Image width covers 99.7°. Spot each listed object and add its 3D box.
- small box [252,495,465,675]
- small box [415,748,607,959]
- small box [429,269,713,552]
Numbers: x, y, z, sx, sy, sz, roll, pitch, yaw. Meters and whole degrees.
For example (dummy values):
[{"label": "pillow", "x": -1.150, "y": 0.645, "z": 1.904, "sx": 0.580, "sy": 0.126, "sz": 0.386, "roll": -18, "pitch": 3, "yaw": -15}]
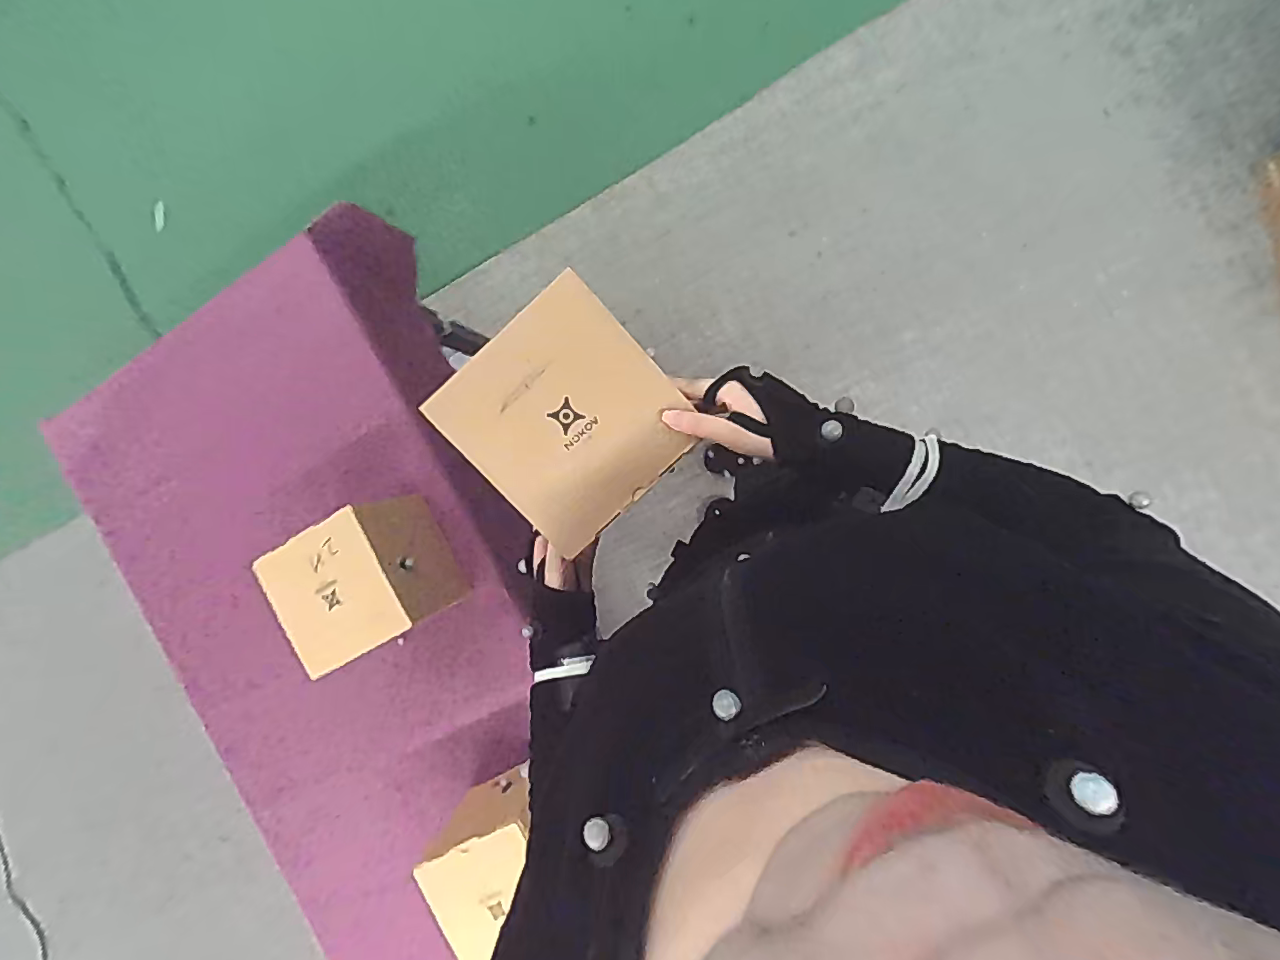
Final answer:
[{"label": "small box", "x": -0.380, "y": 0.135, "z": 0.764, "sx": 0.168, "sy": 0.176, "sz": 0.179, "roll": -29, "pitch": 89, "yaw": 8}, {"label": "small box", "x": -0.165, "y": 0.520, "z": 0.754, "sx": 0.168, "sy": 0.176, "sz": 0.179, "roll": -30, "pitch": 87, "yaw": 9}, {"label": "small box", "x": -0.060, "y": -0.065, "z": 0.519, "sx": 0.168, "sy": 0.176, "sz": 0.179, "roll": -41, "pitch": 100, "yaw": 1}]
